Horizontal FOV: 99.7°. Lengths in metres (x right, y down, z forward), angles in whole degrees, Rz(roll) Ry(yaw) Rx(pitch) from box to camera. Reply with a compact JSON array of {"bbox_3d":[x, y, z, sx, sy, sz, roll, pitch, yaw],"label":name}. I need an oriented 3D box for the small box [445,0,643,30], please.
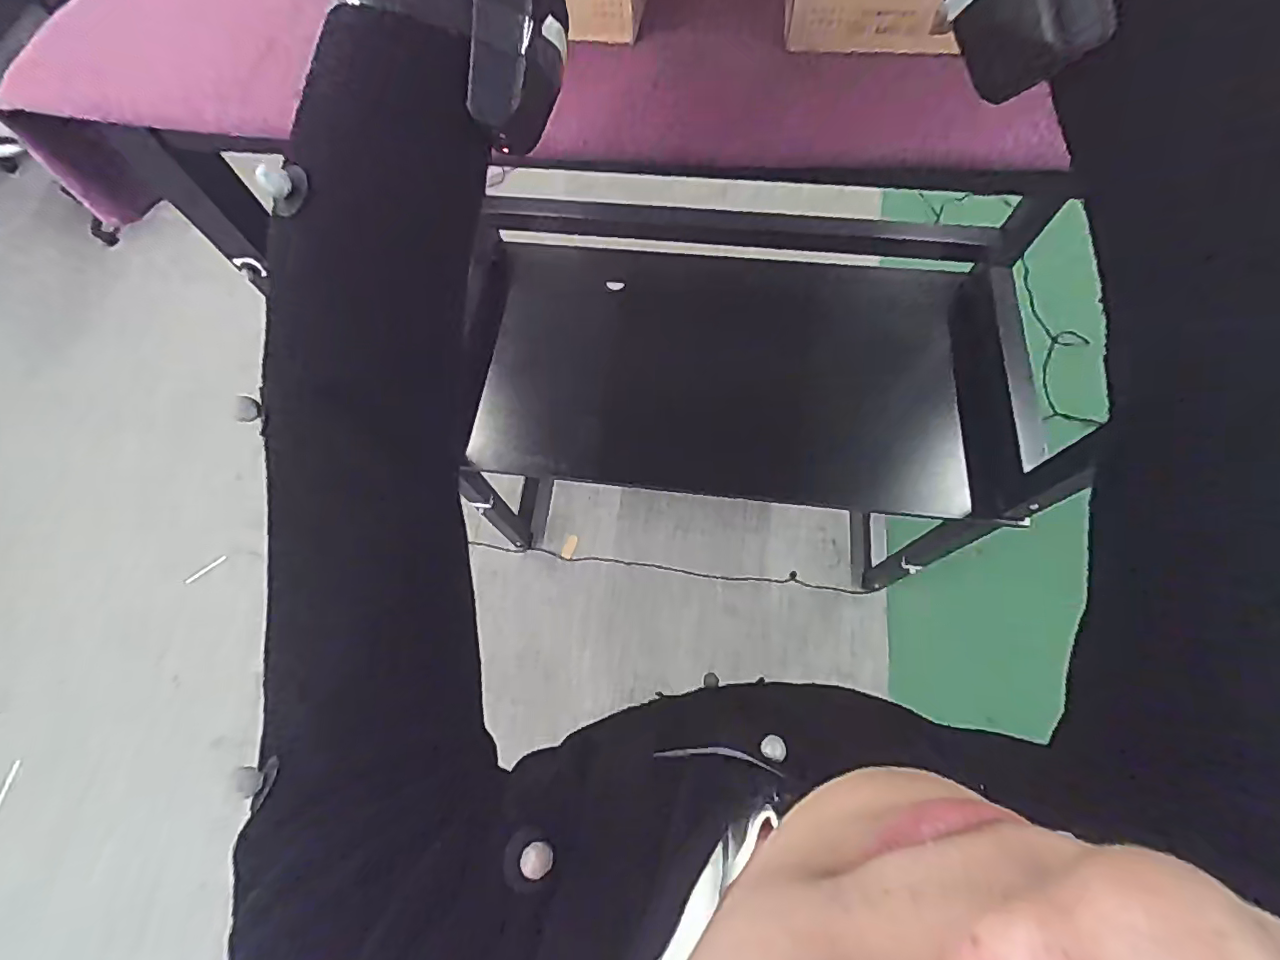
[{"bbox_3d":[-0.071,-0.457,0.377,0.168,0.176,0.179,8,67,4],"label":"small box"}]
